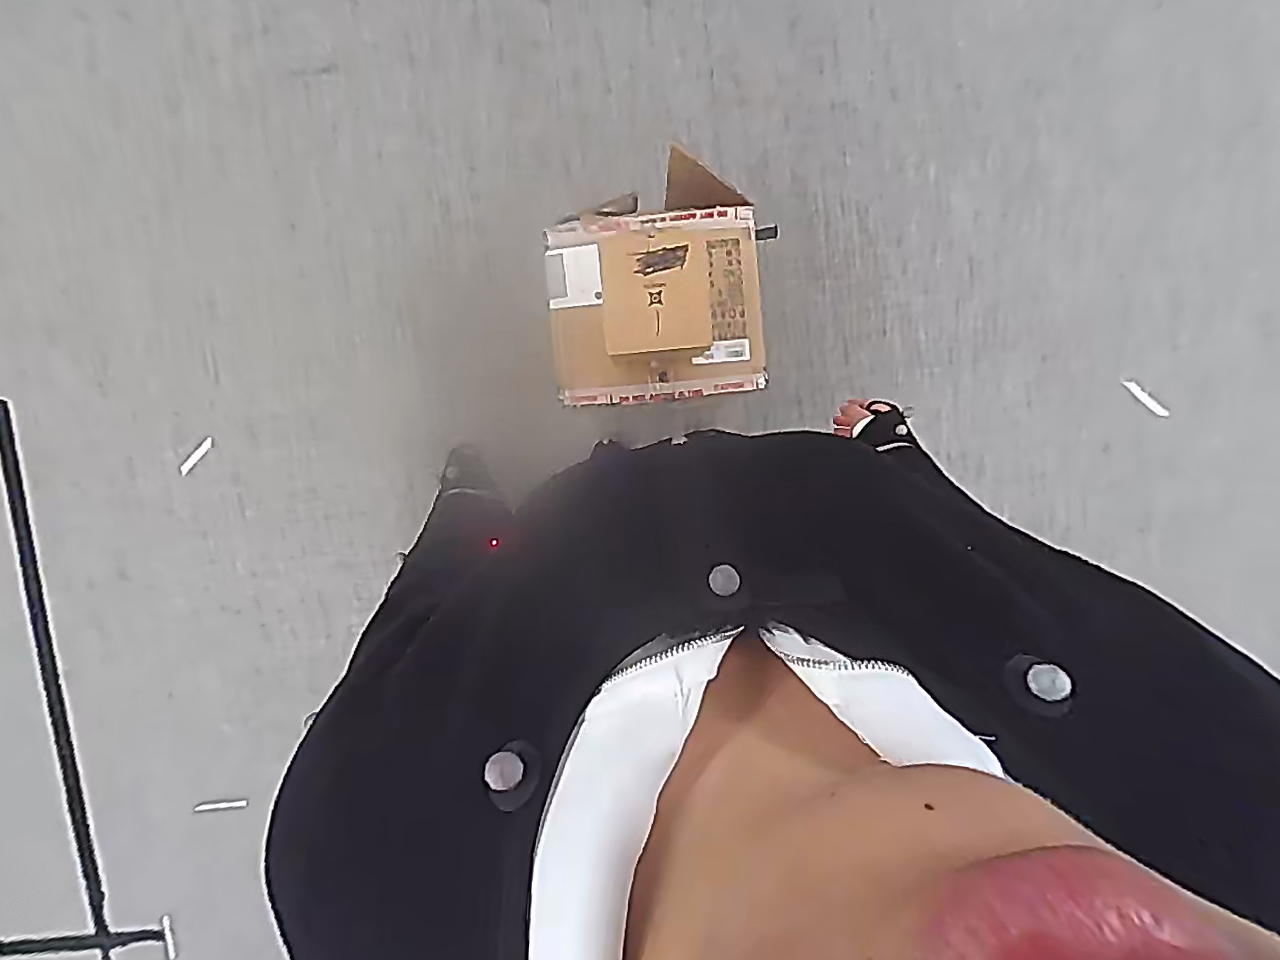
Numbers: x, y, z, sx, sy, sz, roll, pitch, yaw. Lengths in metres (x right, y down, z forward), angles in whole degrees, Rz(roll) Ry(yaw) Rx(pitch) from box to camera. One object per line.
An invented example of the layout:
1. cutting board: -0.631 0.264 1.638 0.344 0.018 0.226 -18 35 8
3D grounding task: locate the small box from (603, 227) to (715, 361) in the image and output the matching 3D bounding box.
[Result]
1. small box: 0.029 -0.299 0.902 0.168 0.176 0.179 -5 98 1
